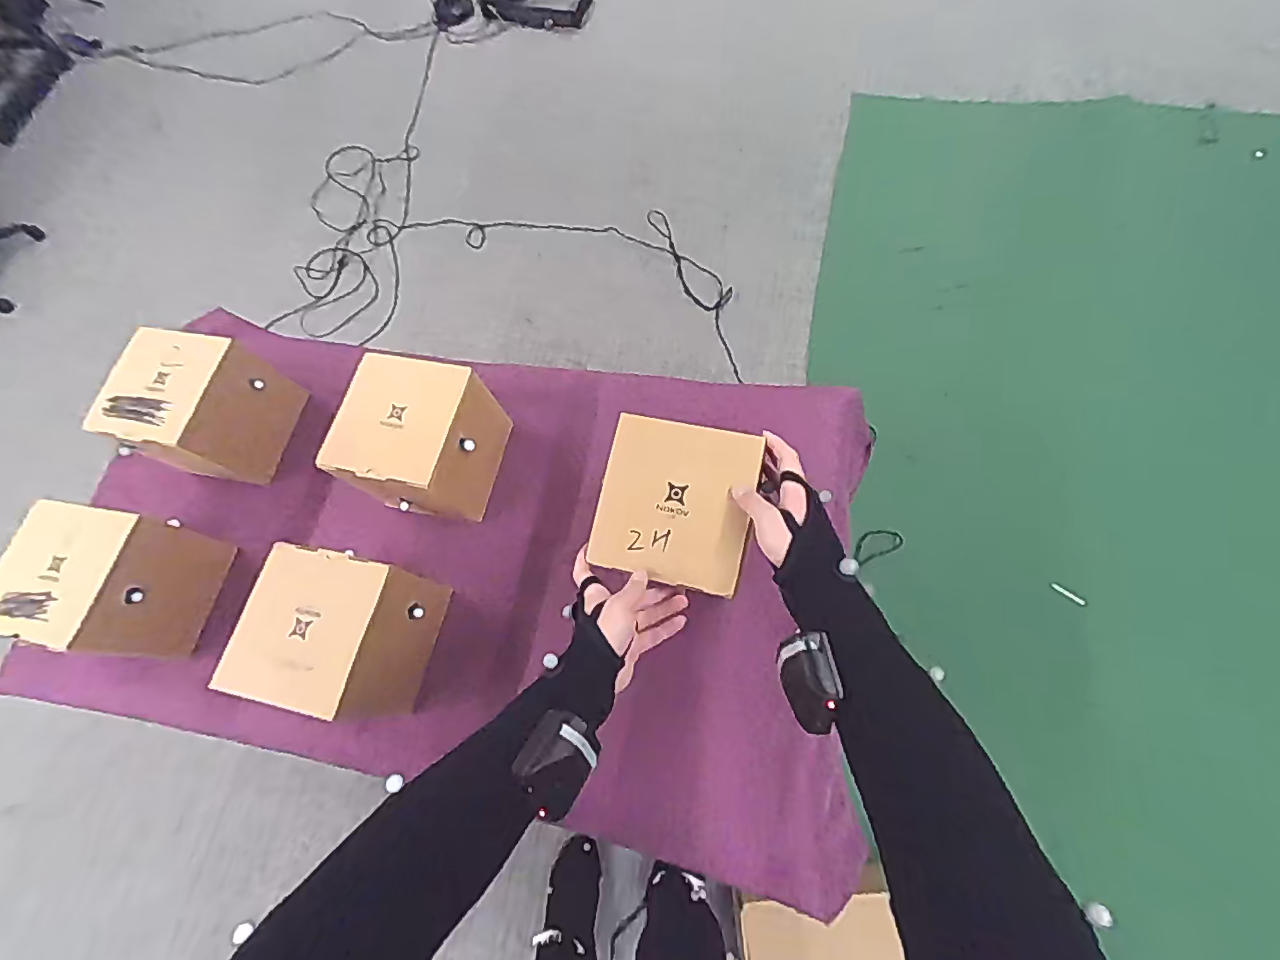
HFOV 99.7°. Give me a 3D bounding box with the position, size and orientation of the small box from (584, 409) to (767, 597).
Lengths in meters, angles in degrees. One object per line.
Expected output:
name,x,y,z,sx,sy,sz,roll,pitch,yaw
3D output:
small box,0.053,0.033,0.649,0.168,0.176,0.179,11,83,15

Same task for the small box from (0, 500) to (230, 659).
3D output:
small box,-0.733,0.146,0.755,0.168,0.176,0.179,7,69,10

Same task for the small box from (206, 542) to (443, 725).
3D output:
small box,-0.379,0.197,0.690,0.168,0.176,0.179,10,70,12

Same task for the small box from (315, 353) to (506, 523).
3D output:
small box,-0.311,-0.054,0.778,0.168,0.176,0.179,10,72,11
